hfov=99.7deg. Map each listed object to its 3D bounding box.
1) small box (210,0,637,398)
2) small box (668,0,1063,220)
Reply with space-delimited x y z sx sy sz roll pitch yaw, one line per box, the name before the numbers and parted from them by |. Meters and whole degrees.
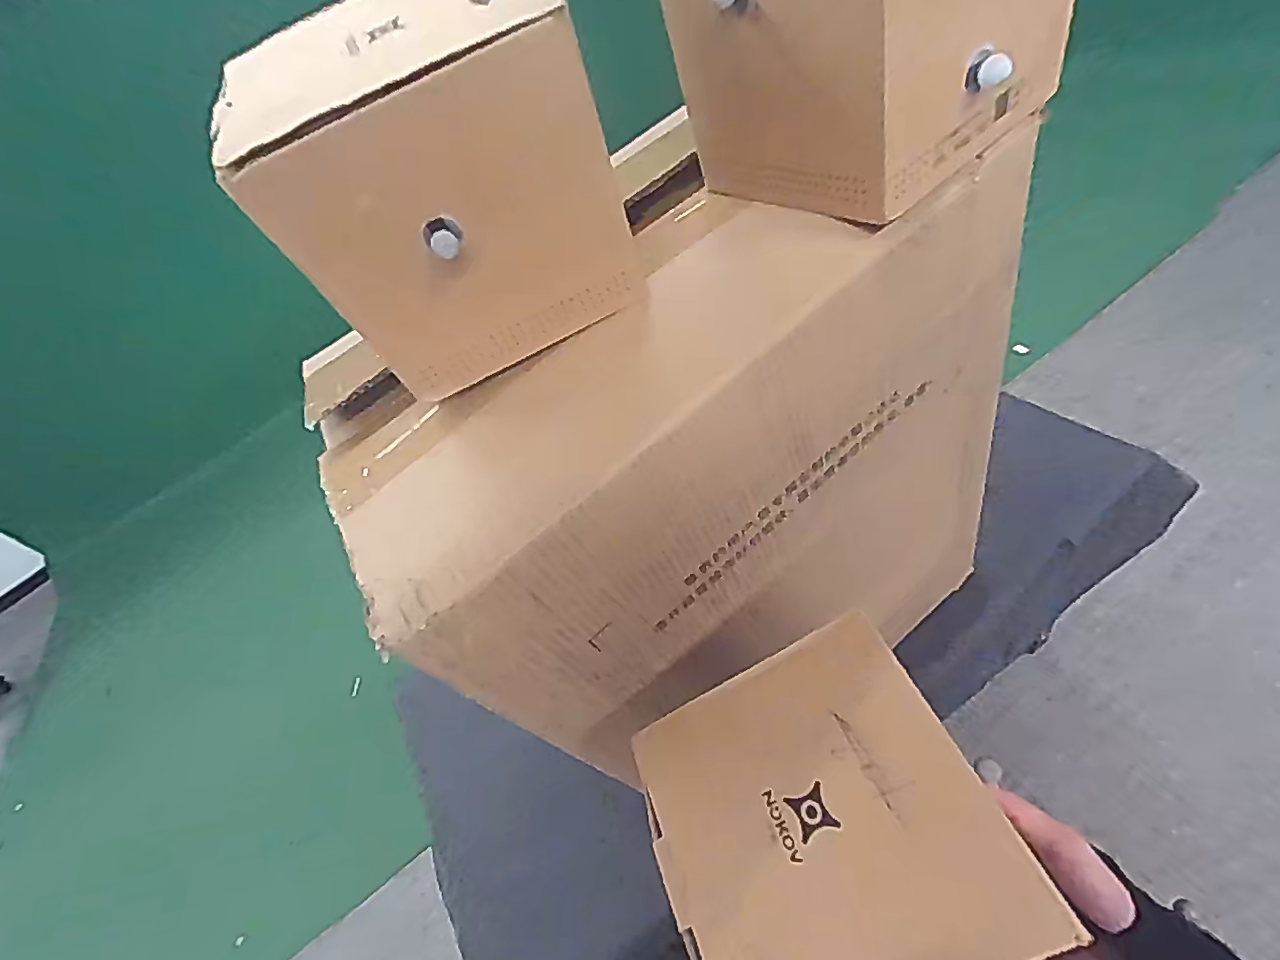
small box | -0.125 -0.185 0.351 0.179 0.176 0.168 -28 57 -1
small box | 0.132 -0.292 0.342 0.168 0.176 0.179 -39 47 -9
